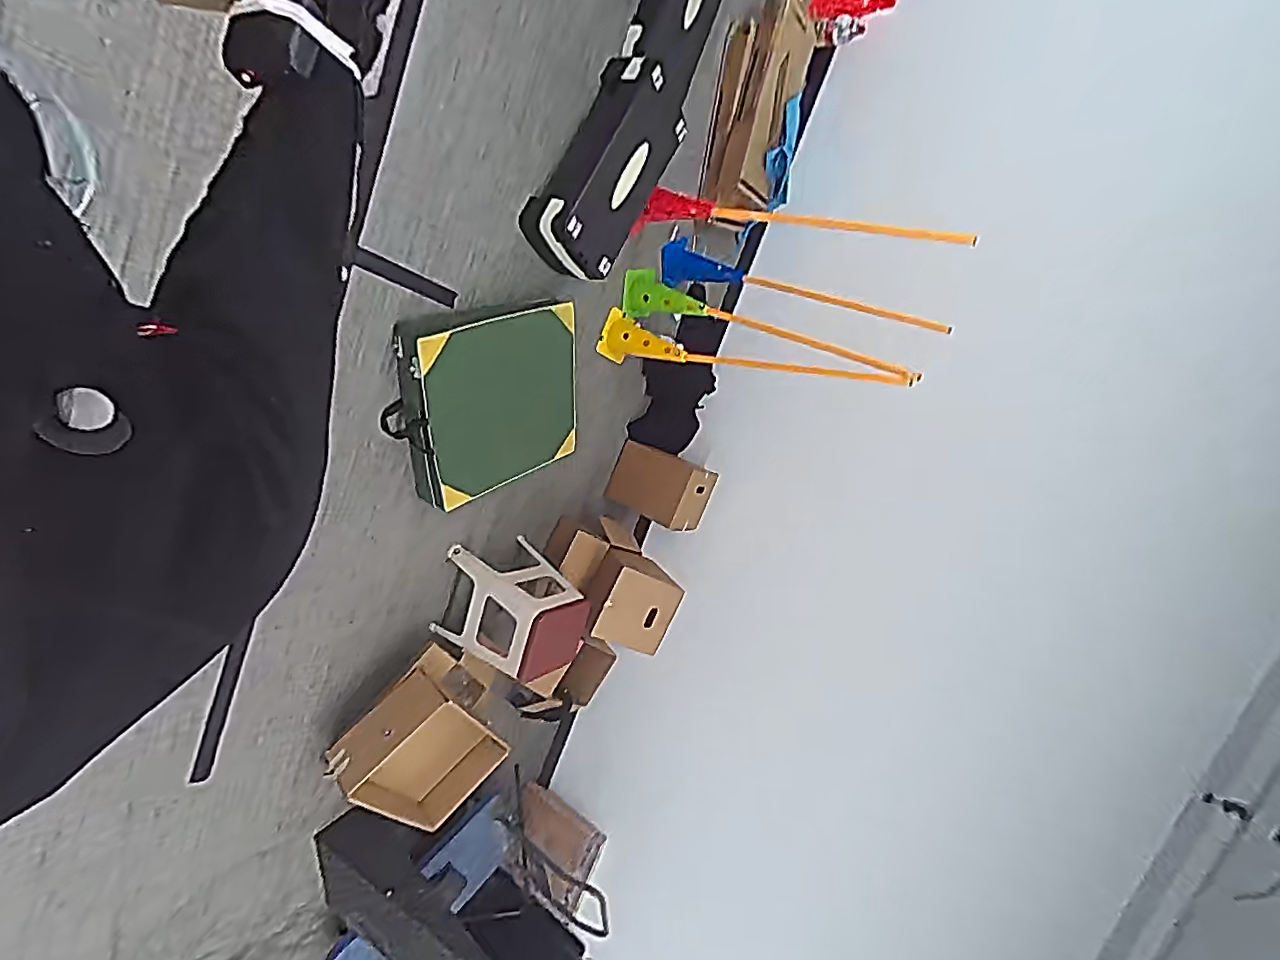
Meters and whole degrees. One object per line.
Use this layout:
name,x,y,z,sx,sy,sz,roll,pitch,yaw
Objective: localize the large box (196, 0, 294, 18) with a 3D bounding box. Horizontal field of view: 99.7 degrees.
large box,-0.425,-0.596,0.313,0.320,0.320,0.408,-60,152,9
